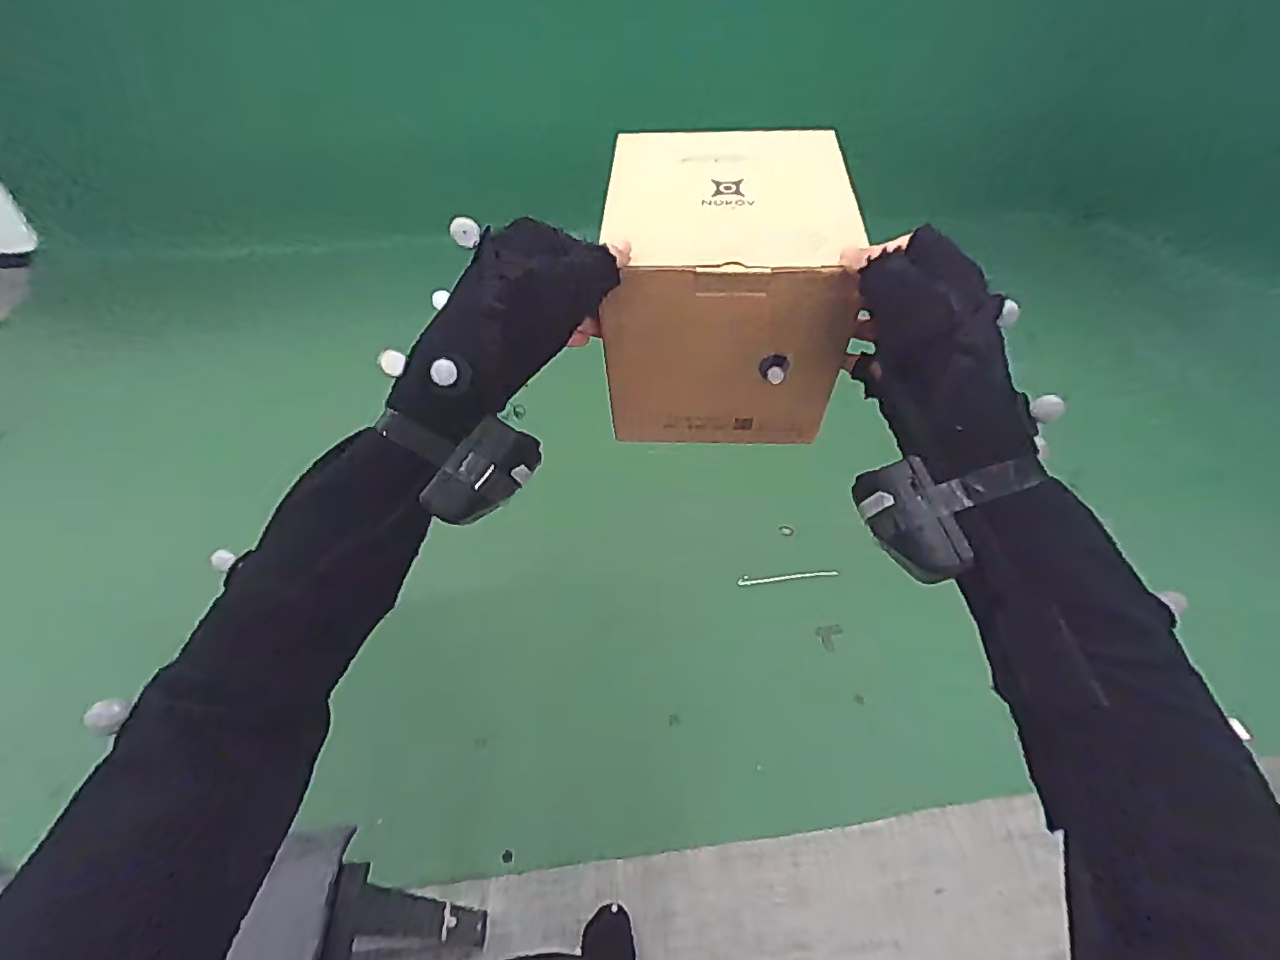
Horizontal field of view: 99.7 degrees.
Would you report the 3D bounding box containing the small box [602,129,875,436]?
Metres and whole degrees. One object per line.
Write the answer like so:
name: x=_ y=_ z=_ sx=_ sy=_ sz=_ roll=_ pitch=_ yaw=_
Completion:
small box: x=0.067 y=-0.151 z=0.434 sx=0.168 sy=0.176 sz=0.179 roll=2 pitch=56 yaw=3
